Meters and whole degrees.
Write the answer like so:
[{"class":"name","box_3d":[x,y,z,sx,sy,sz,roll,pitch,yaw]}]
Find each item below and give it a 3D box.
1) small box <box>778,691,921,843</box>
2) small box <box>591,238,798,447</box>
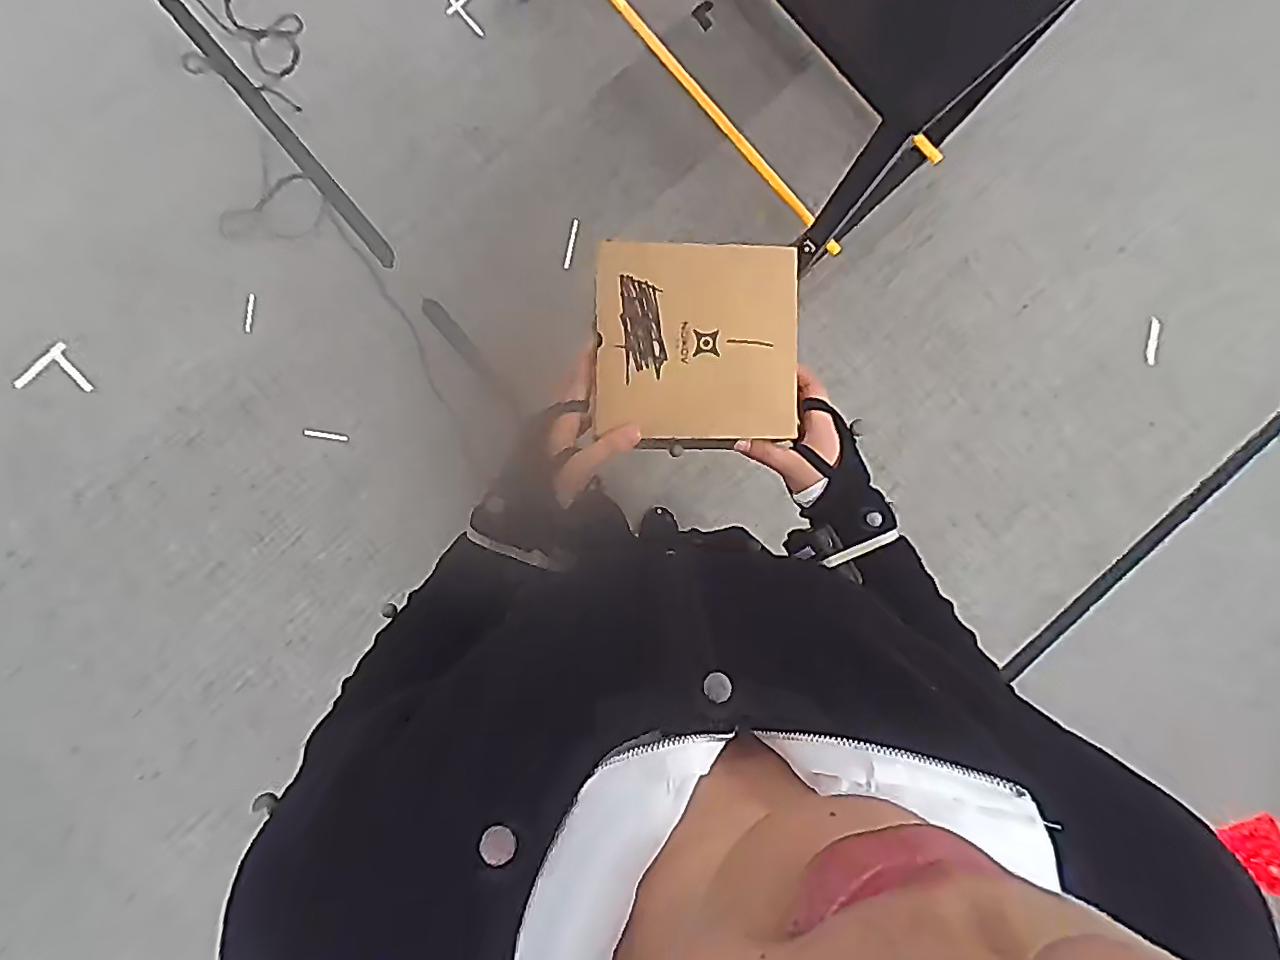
[{"class":"small box","box_3d":[0.411,0.565,1.092,0.168,0.176,0.179,-44,90,-2]},{"class":"small box","box_3d":[0.042,-0.119,0.533,0.179,0.176,0.168,0,91,-4]}]
